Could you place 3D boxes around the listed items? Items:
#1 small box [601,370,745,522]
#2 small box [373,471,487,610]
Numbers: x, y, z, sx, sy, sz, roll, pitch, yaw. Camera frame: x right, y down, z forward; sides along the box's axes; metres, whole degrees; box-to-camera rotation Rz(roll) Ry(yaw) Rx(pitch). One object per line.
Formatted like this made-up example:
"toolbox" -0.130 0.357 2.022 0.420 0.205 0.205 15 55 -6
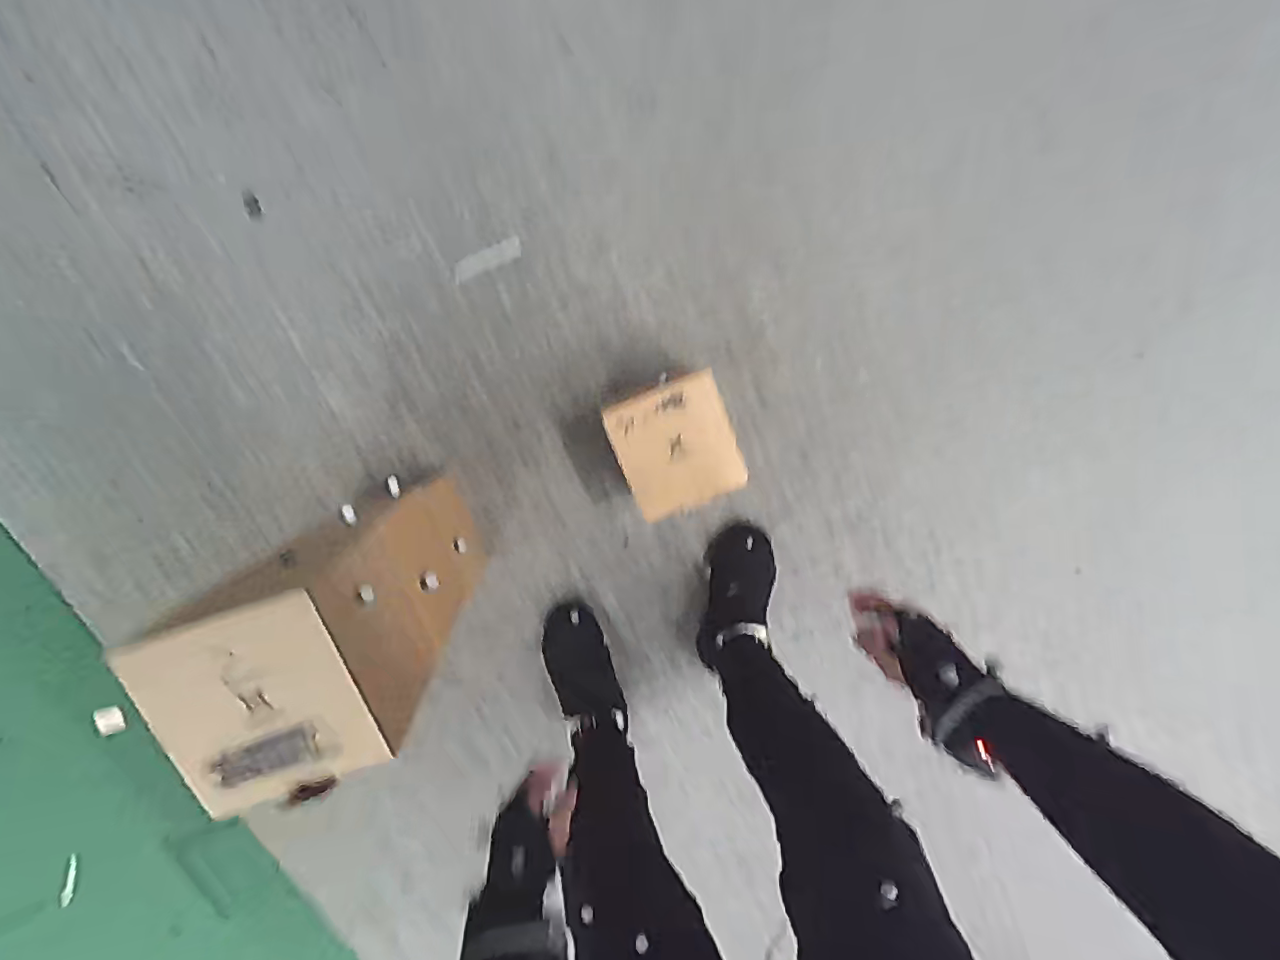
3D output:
"small box" 0.045 -0.063 0.852 0.168 0.176 0.179 -21 105 0
"small box" -0.358 0.104 0.853 0.168 0.176 0.179 -19 103 -1
